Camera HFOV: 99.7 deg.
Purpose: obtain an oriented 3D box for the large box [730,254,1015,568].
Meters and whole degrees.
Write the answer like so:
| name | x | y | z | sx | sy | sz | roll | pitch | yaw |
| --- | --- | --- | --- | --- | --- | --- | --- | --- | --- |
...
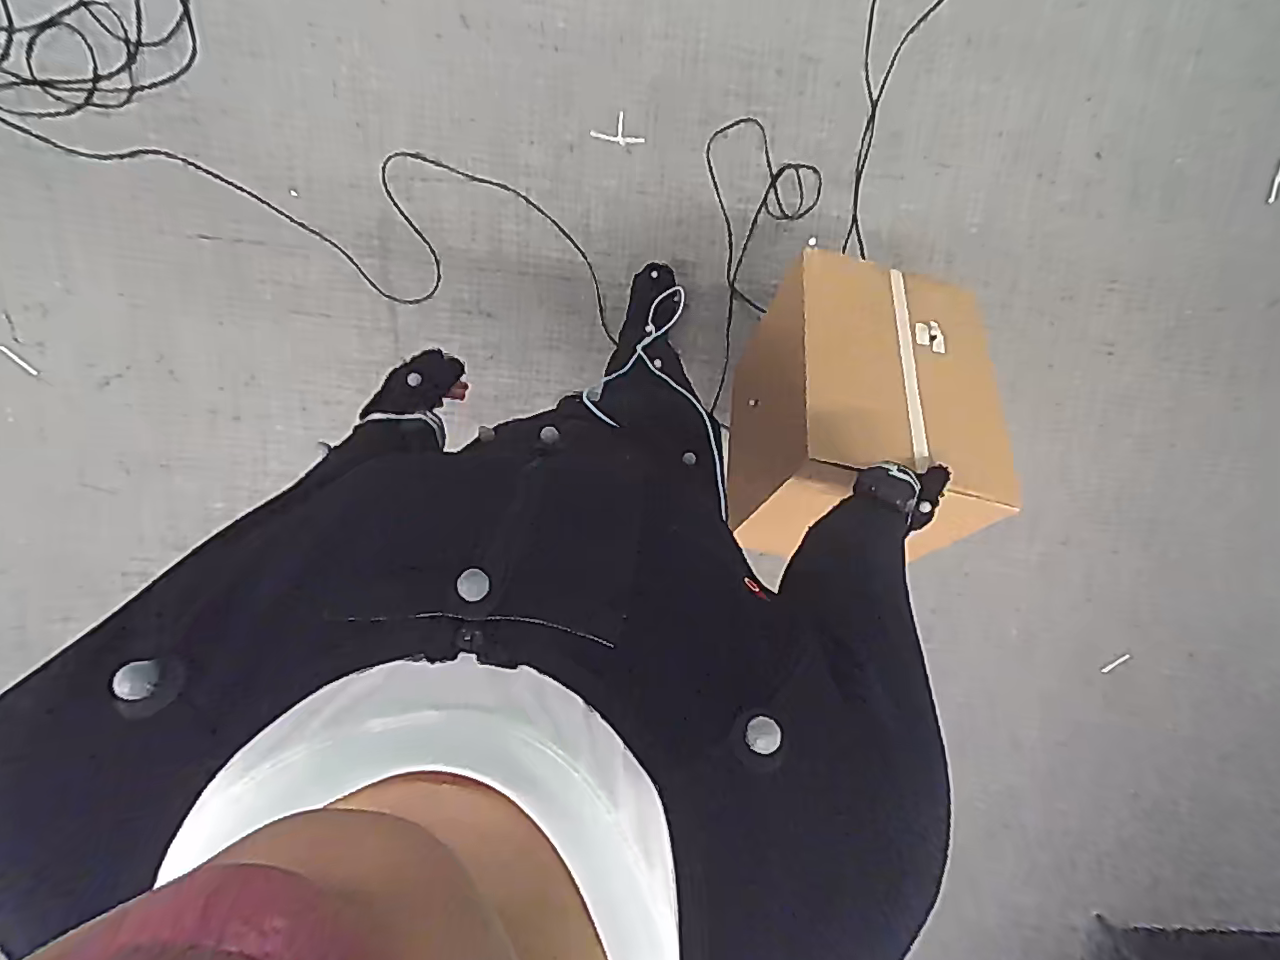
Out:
| name | x | y | z | sx | sy | sz | roll | pitch | yaw |
| --- | --- | --- | --- | --- | --- | --- | --- | --- | --- |
| large box | 0.356 | -0.101 | 0.938 | 0.320 | 0.320 | 0.408 | 13 | 61 | -8 |
